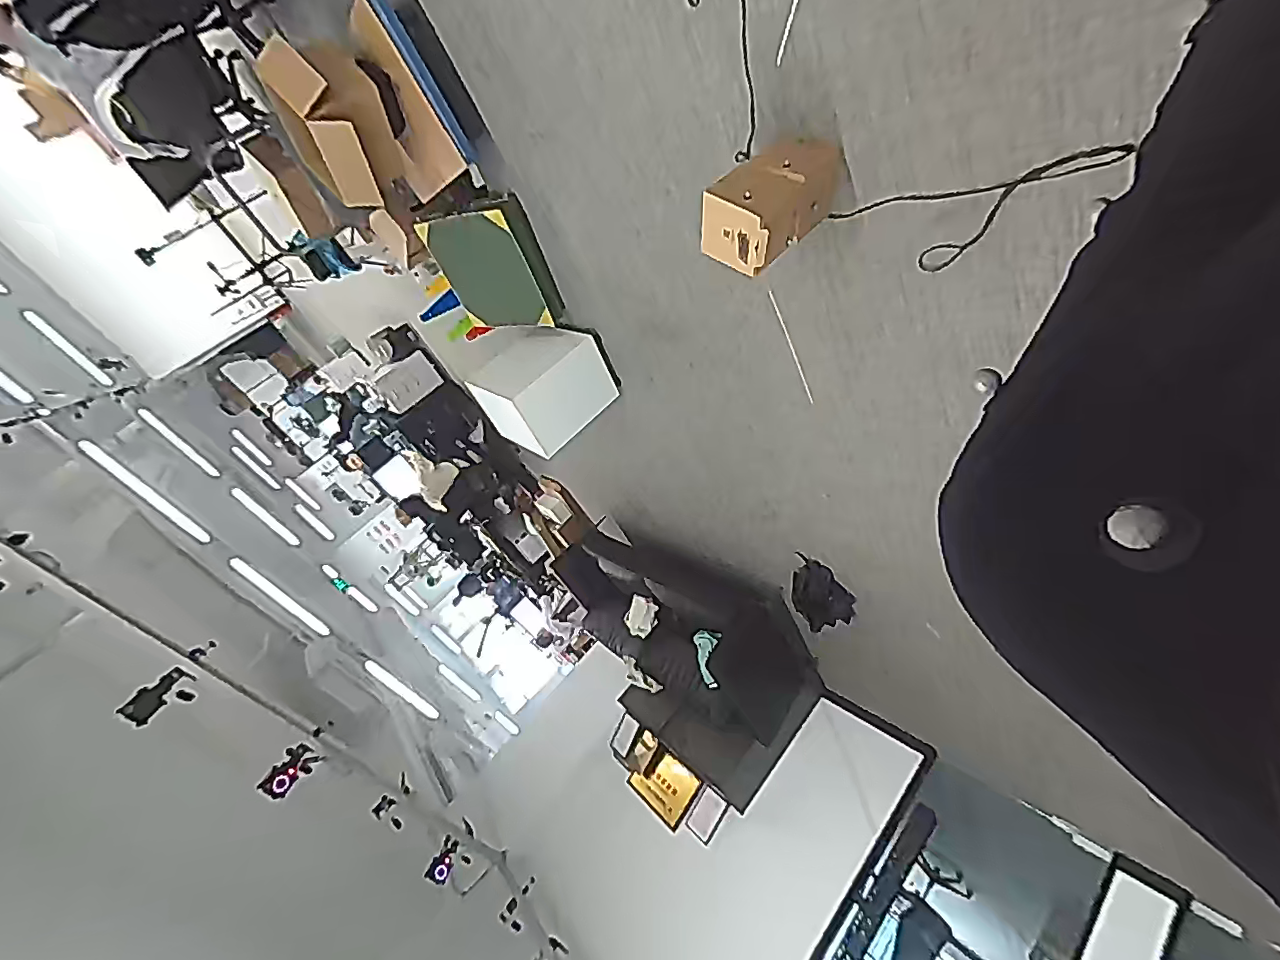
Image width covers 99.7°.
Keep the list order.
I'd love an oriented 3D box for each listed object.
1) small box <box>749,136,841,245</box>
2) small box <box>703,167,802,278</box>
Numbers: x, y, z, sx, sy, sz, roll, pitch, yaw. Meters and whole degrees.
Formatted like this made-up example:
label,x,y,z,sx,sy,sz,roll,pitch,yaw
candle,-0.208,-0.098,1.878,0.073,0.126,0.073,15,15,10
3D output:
label,x,y,z,sx,sy,sz,roll,pitch,yaw
small box,0.397,-0.753,1.405,0.168,0.176,0.179,35,156,28
small box,0.279,-0.650,1.354,0.179,0.176,0.168,37,157,23
